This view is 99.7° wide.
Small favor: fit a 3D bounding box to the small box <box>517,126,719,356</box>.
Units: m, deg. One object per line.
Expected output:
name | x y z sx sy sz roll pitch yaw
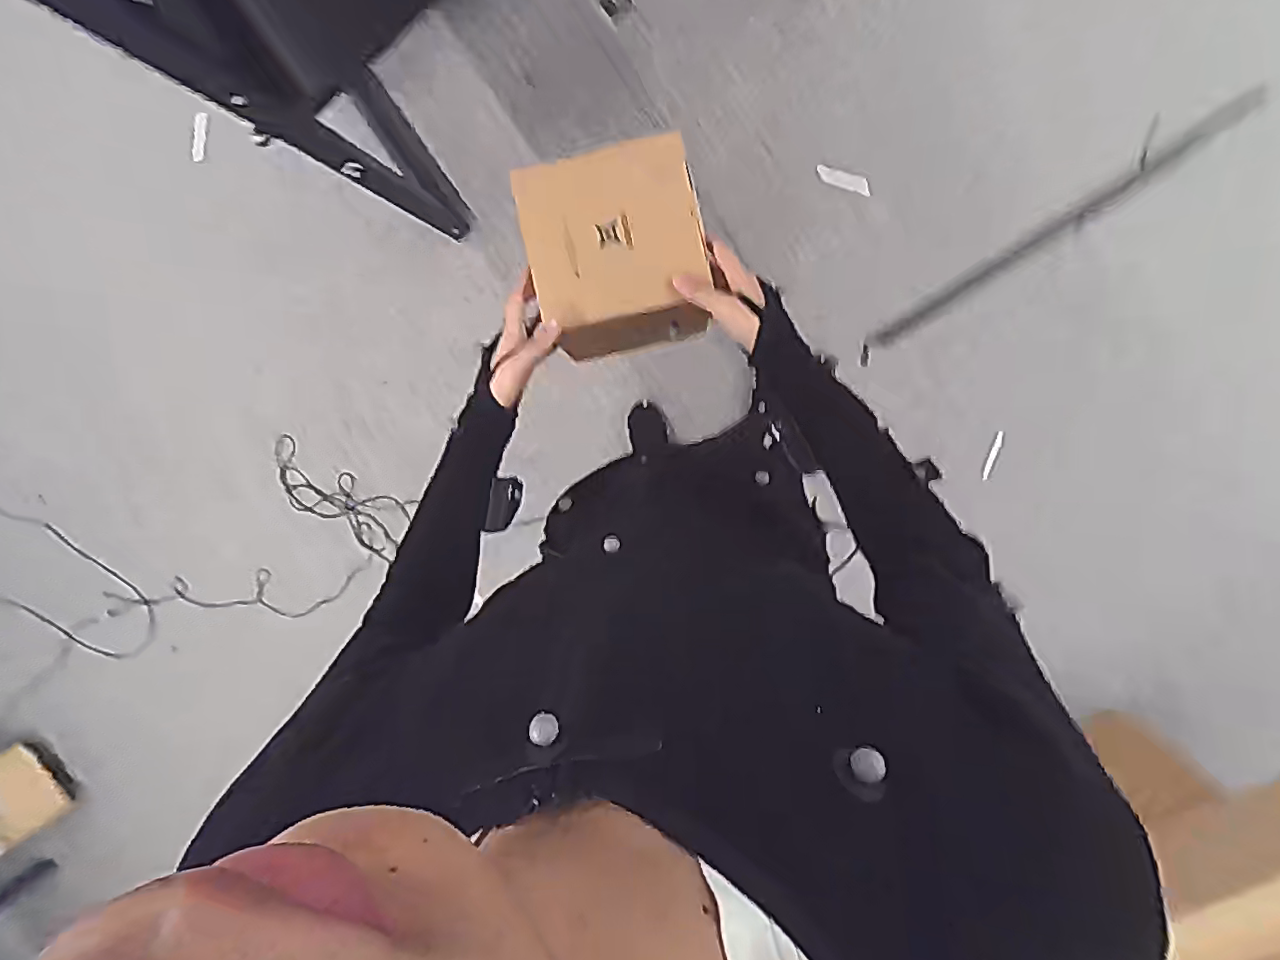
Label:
small box | -0.018 -0.248 0.604 0.179 0.176 0.168 -11 90 4
